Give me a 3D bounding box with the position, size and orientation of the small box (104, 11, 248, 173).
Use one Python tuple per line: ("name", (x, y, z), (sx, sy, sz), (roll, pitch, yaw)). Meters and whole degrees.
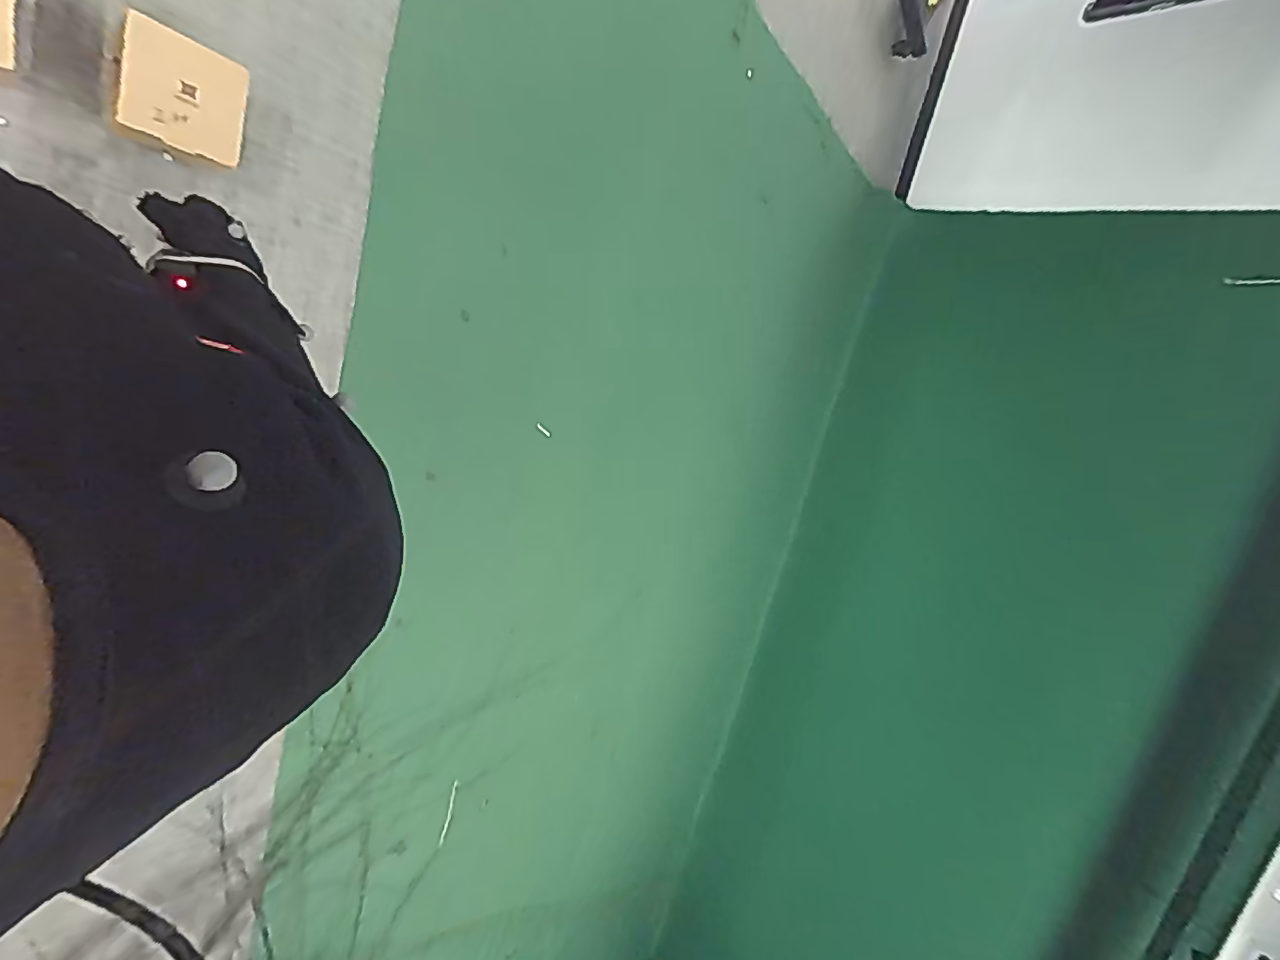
("small box", (-0.848, -0.688, 0.984), (0.168, 0.176, 0.179), (5, 104, -50))
